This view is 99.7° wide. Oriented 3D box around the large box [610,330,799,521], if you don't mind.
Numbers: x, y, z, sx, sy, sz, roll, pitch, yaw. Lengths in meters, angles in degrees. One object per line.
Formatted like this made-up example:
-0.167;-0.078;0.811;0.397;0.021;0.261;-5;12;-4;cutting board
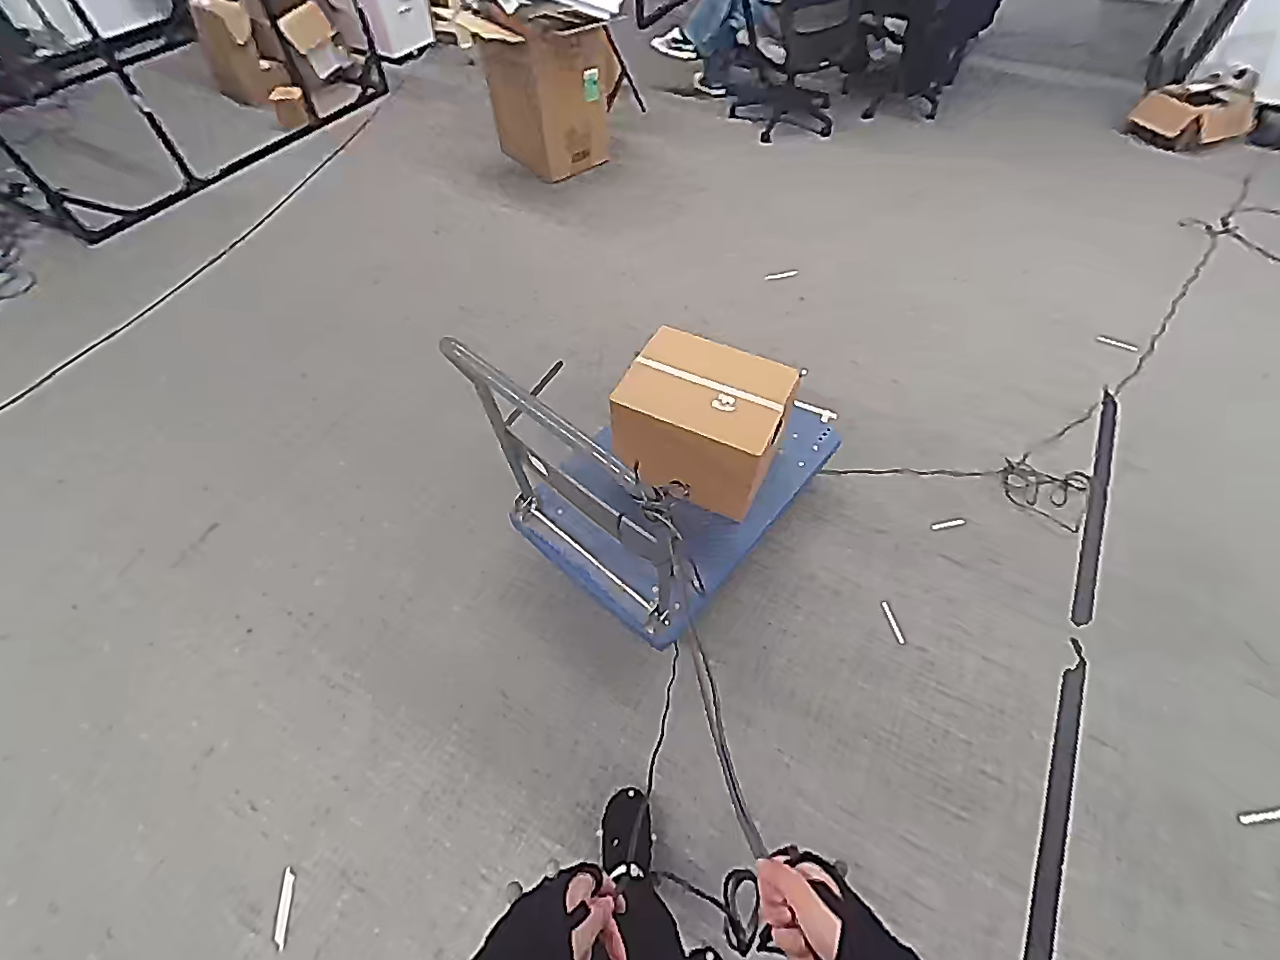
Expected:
0.165;-0.149;1.484;0.408;0.320;0.320;23;60;15;large box
